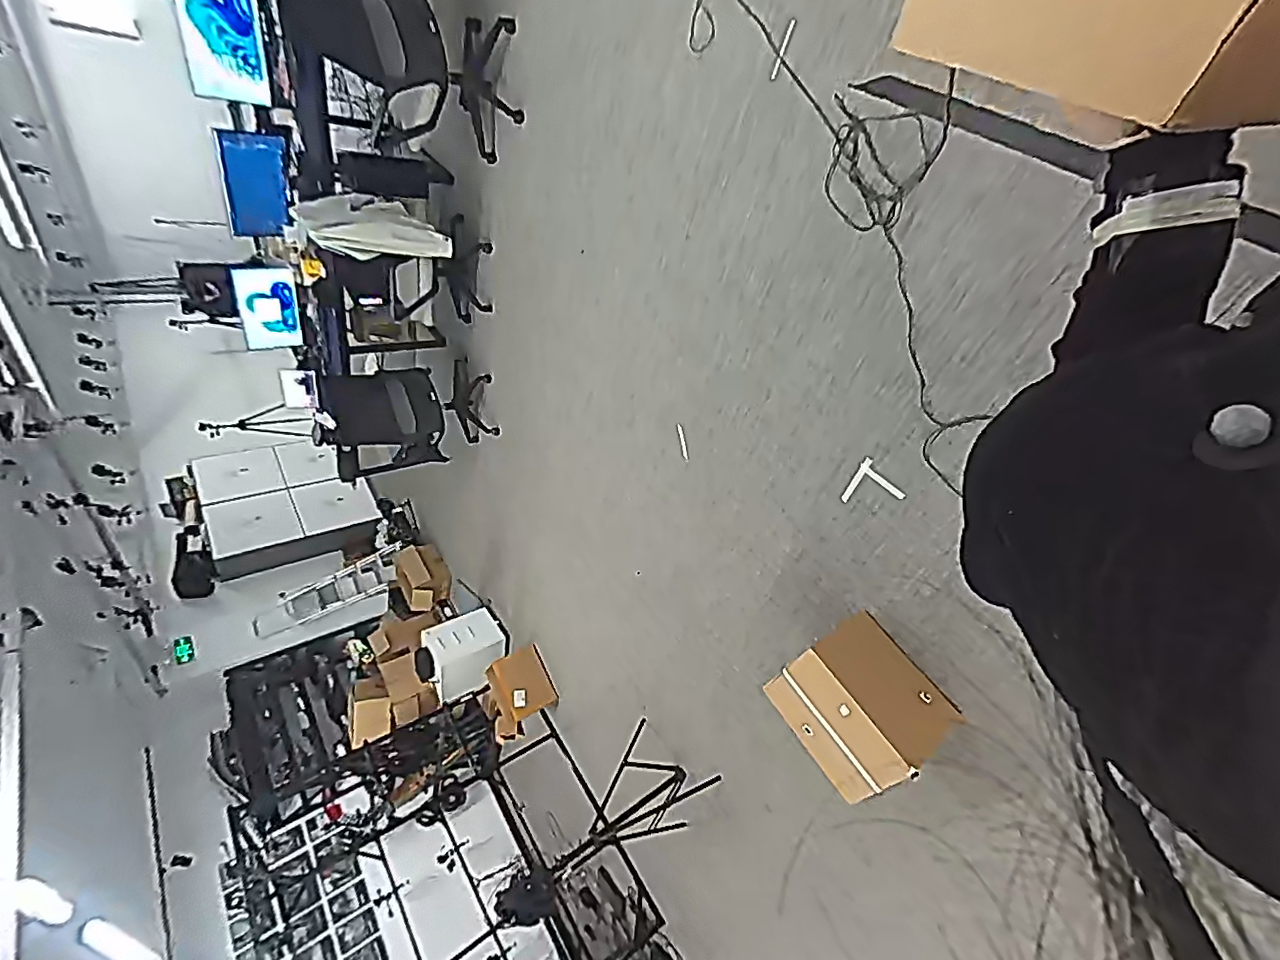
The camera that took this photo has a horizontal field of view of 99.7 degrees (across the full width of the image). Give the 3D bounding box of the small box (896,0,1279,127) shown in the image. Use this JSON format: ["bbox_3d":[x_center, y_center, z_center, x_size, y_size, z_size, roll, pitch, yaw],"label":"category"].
[{"bbox_3d":[0.283,-0.300,0.271,0.179,0.176,0.168,55,151,35],"label":"small box"}]
